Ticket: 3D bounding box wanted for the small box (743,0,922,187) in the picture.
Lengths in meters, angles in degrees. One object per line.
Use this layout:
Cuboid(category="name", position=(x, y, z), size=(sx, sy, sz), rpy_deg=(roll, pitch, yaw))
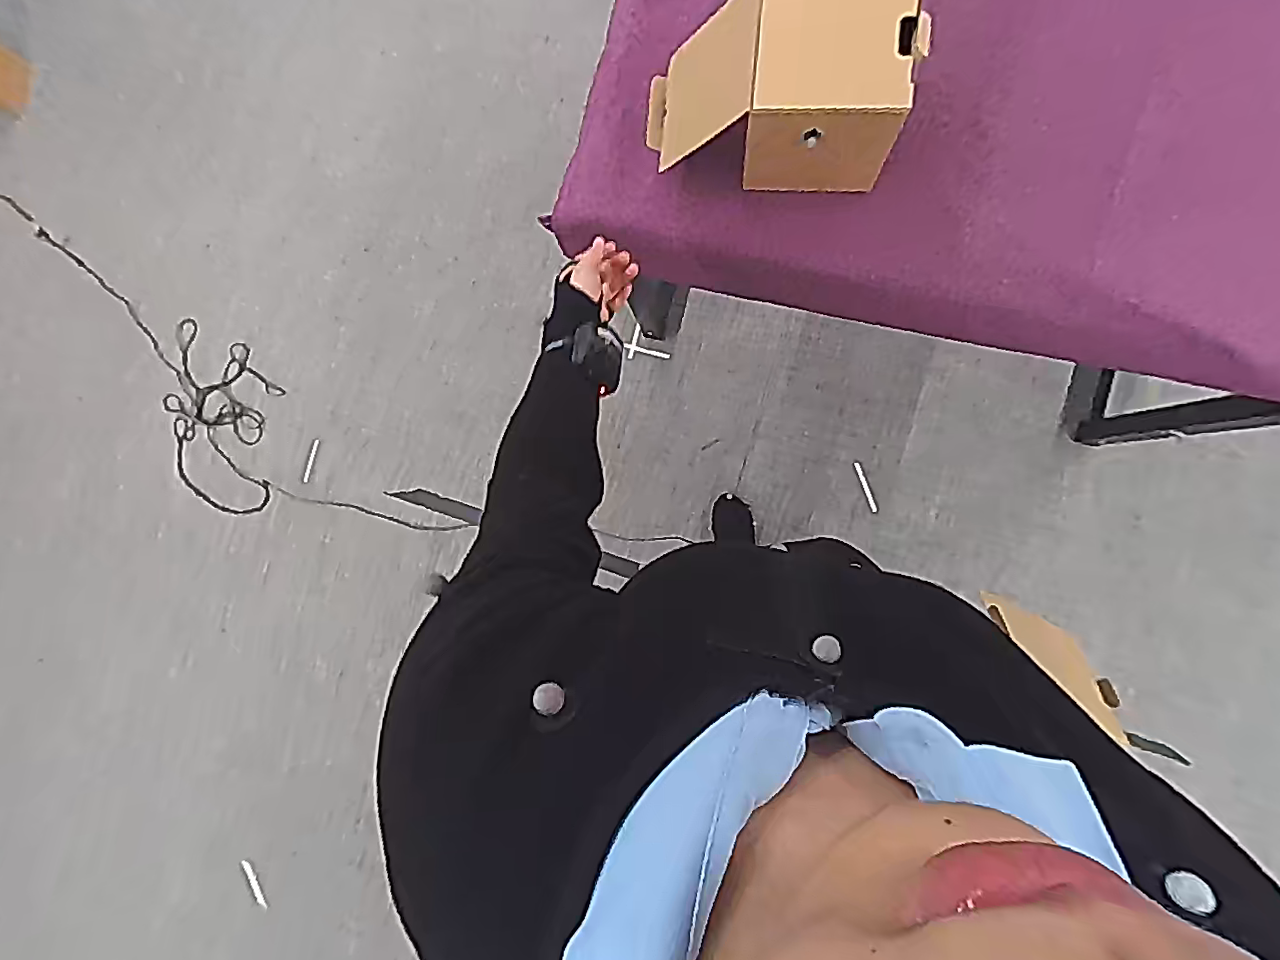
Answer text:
Cuboid(category="small box", position=(0.224, -0.486, 0.666), size=(0.179, 0.176, 0.168), rpy_deg=(6, 91, 8))
